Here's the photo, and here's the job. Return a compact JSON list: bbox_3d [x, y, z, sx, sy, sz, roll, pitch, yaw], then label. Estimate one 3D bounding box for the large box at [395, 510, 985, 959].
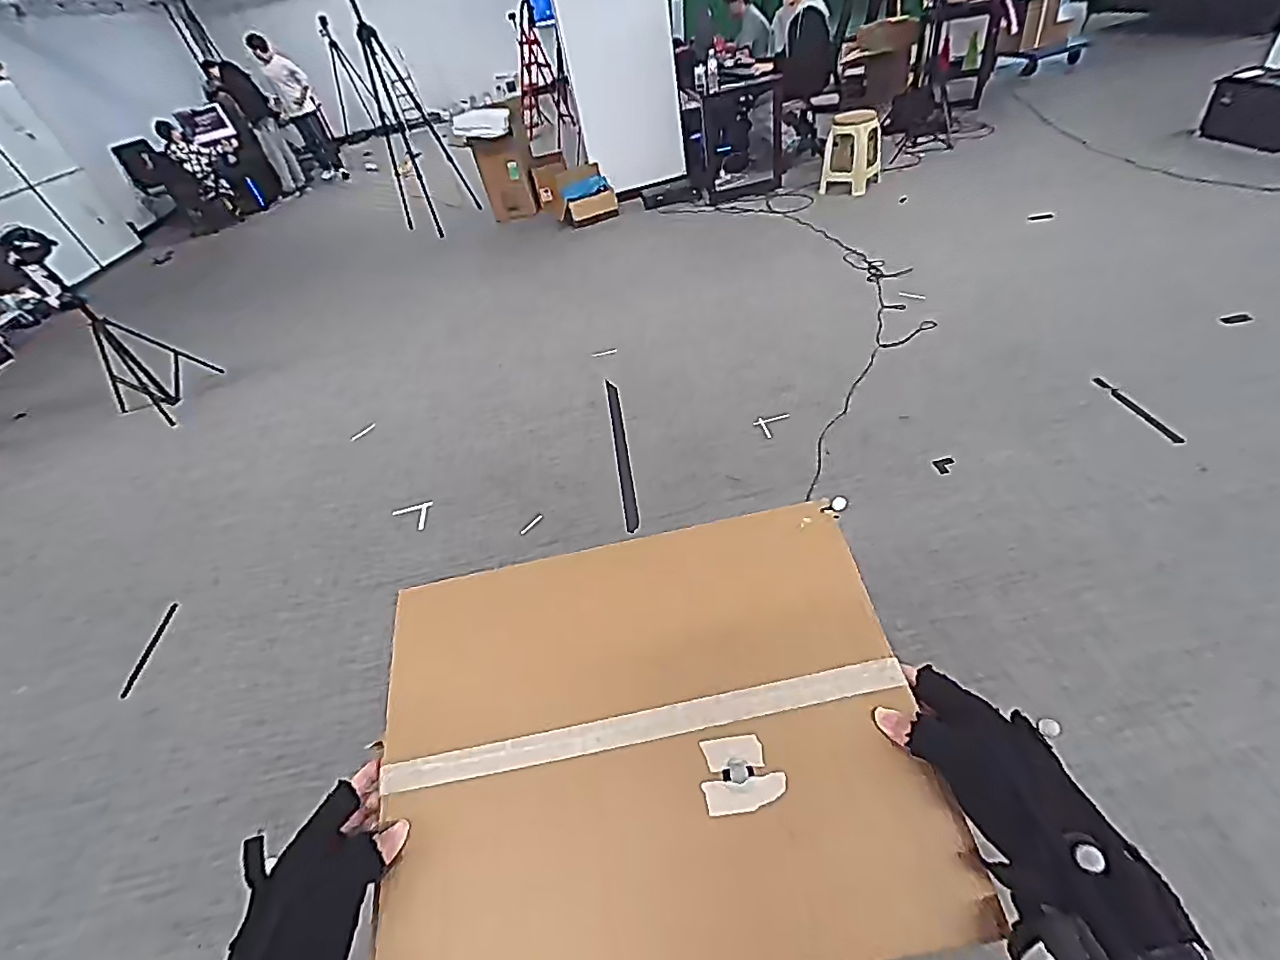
[{"bbox_3d":[0.024,0.276,0.553,0.408,0.320,0.320,-13,57,2],"label":"large box"}]
